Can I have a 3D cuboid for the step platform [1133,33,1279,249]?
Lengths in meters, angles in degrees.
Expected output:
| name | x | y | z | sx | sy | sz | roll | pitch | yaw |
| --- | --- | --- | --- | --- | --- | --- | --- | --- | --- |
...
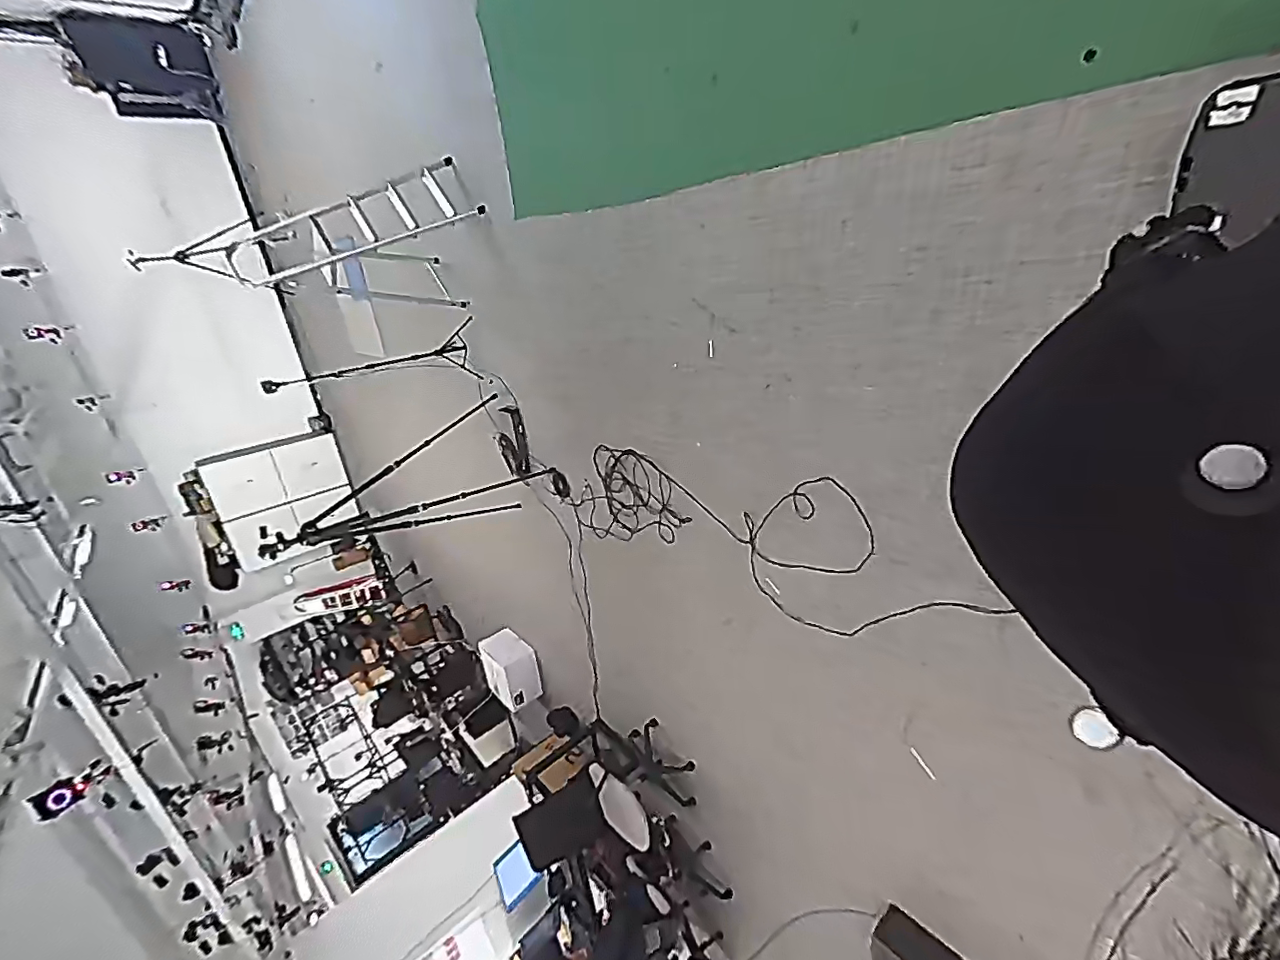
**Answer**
| name | x | y | z | sx | sy | sz | roll | pitch | yaw |
| --- | --- | --- | --- | --- | --- | --- | --- | --- | --- |
| step platform | 1.123 | -0.491 | 0.705 | 0.684 | 0.204 | 0.286 | 18 | 125 | 46 |
